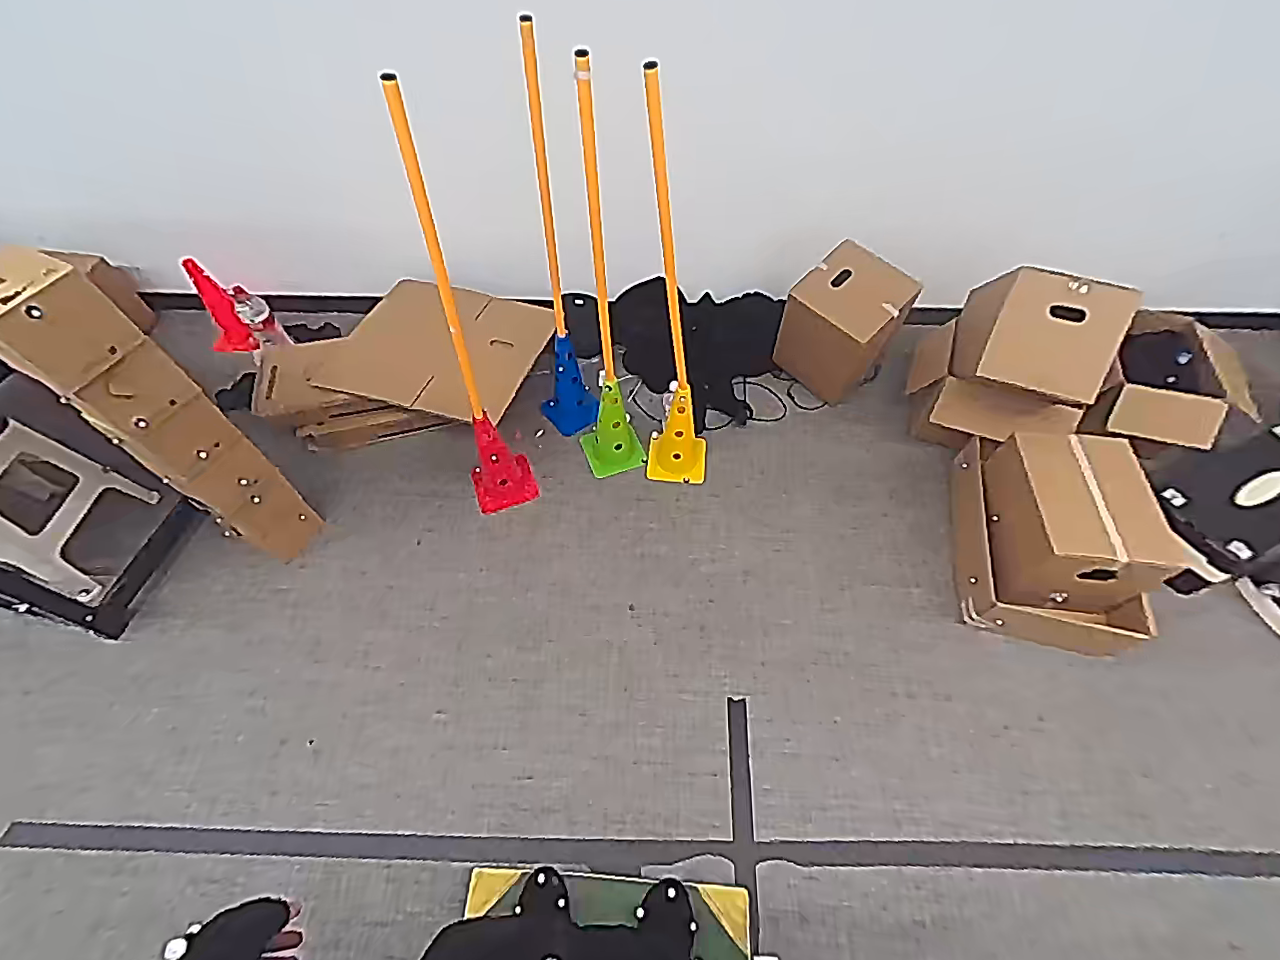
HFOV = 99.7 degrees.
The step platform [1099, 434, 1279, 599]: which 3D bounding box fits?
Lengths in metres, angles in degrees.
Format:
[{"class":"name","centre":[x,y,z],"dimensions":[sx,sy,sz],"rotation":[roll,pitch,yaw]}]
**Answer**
[{"class":"step platform","centre":[1.845,0.103,1.711],"dimensions":[0.684,0.204,0.286],"rotation":[-22,59,-15]}]
